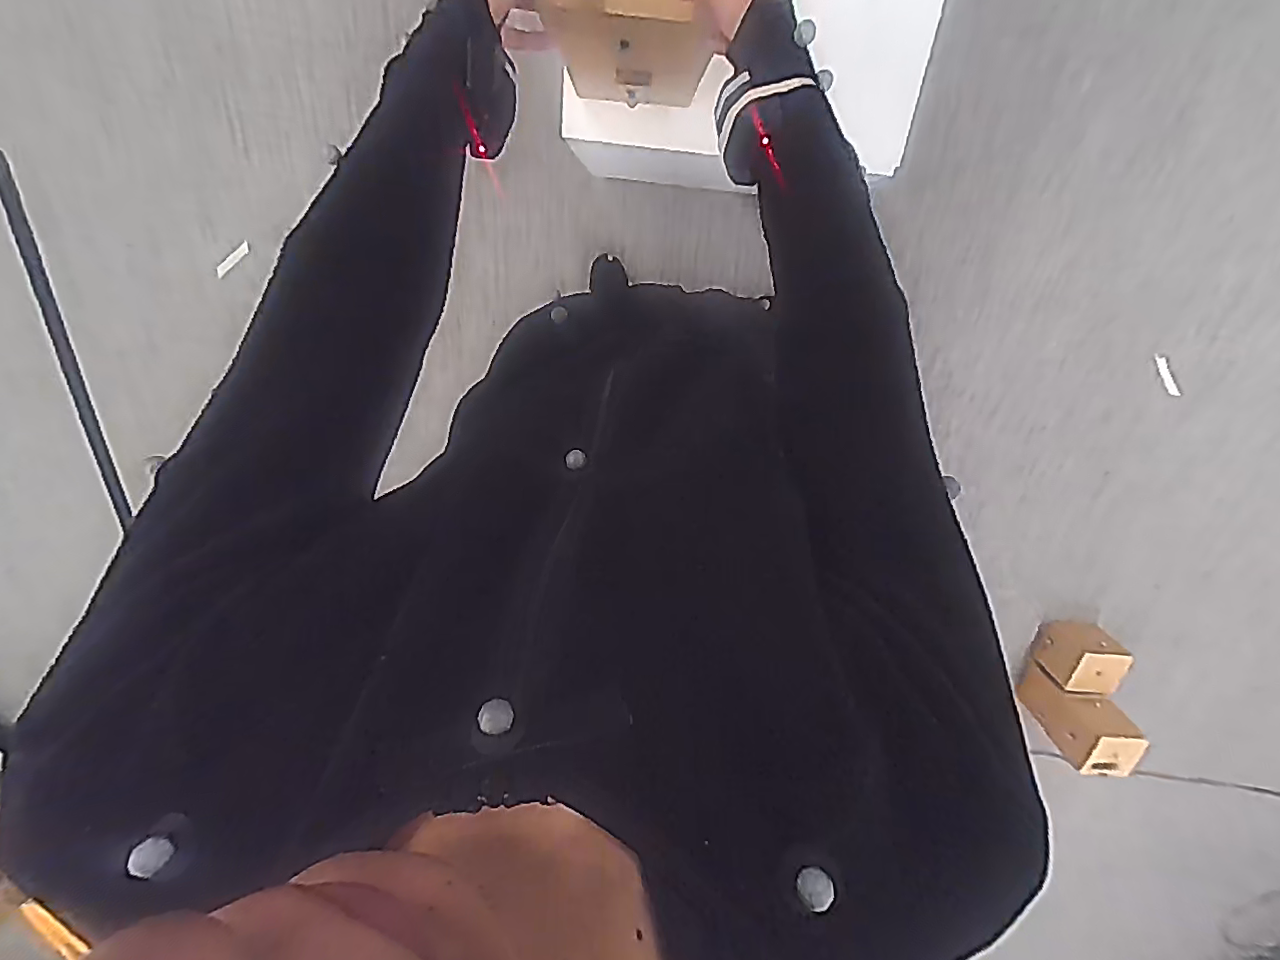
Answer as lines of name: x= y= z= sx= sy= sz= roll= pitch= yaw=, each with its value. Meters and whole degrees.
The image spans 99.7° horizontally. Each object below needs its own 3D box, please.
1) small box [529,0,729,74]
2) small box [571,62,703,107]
small box: x=-0.005 y=-0.511 z=0.516 sx=0.179 sy=0.176 sz=0.168 roll=4 pitch=114 yaw=-2
small box: x=-0.002 y=-0.587 z=0.664 sx=0.168 sy=0.176 sz=0.179 roll=4 pitch=115 yaw=-1
